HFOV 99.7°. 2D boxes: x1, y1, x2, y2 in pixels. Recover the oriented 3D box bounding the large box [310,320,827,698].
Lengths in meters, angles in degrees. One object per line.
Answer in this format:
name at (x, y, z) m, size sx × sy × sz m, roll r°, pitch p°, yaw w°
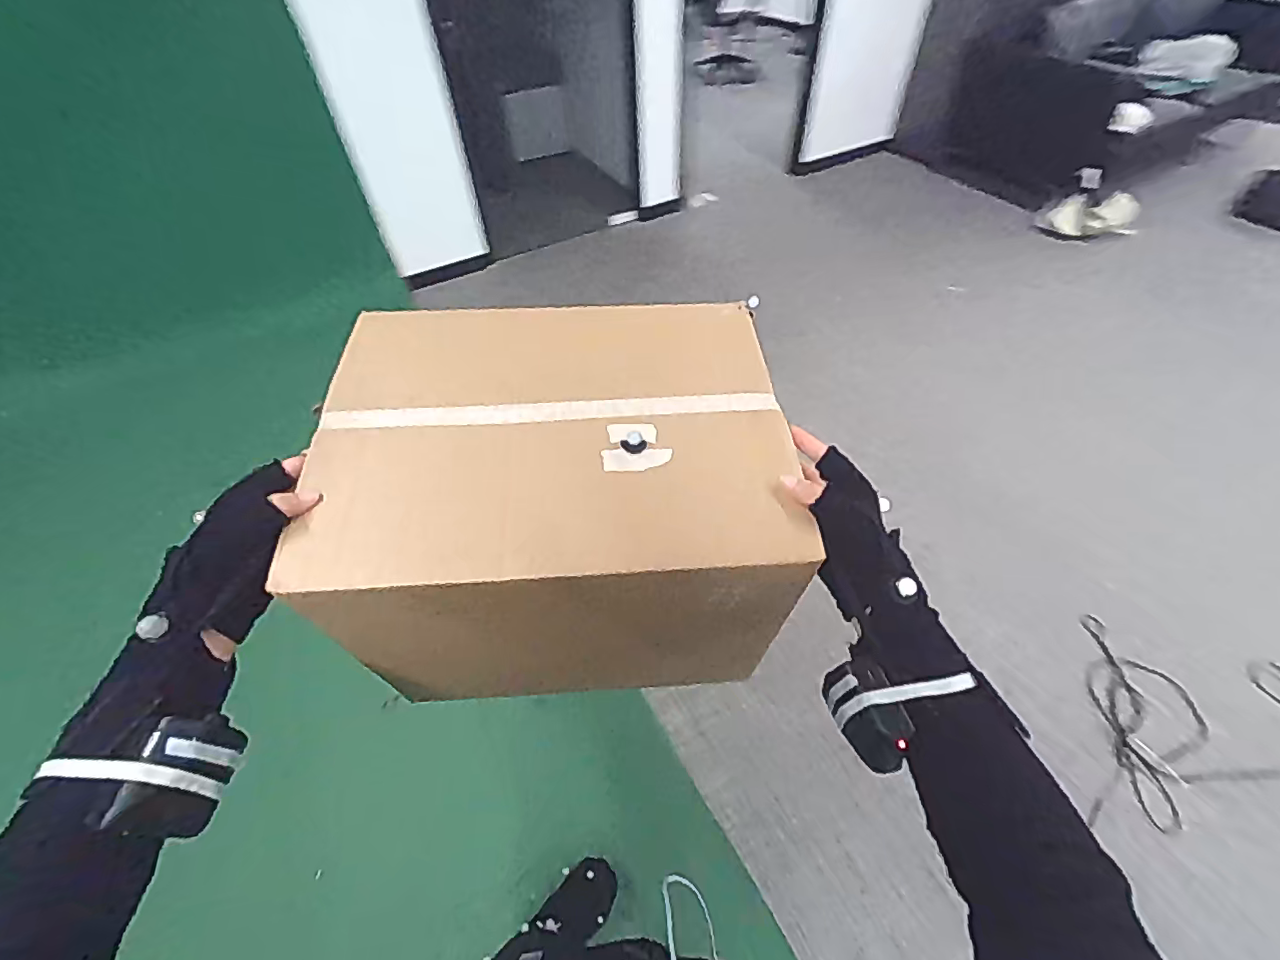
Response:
large box at (-0.064, 0.039, 0.617) m, size 0.408 × 0.320 × 0.320 m, roll -1°, pitch 54°, yaw -4°
